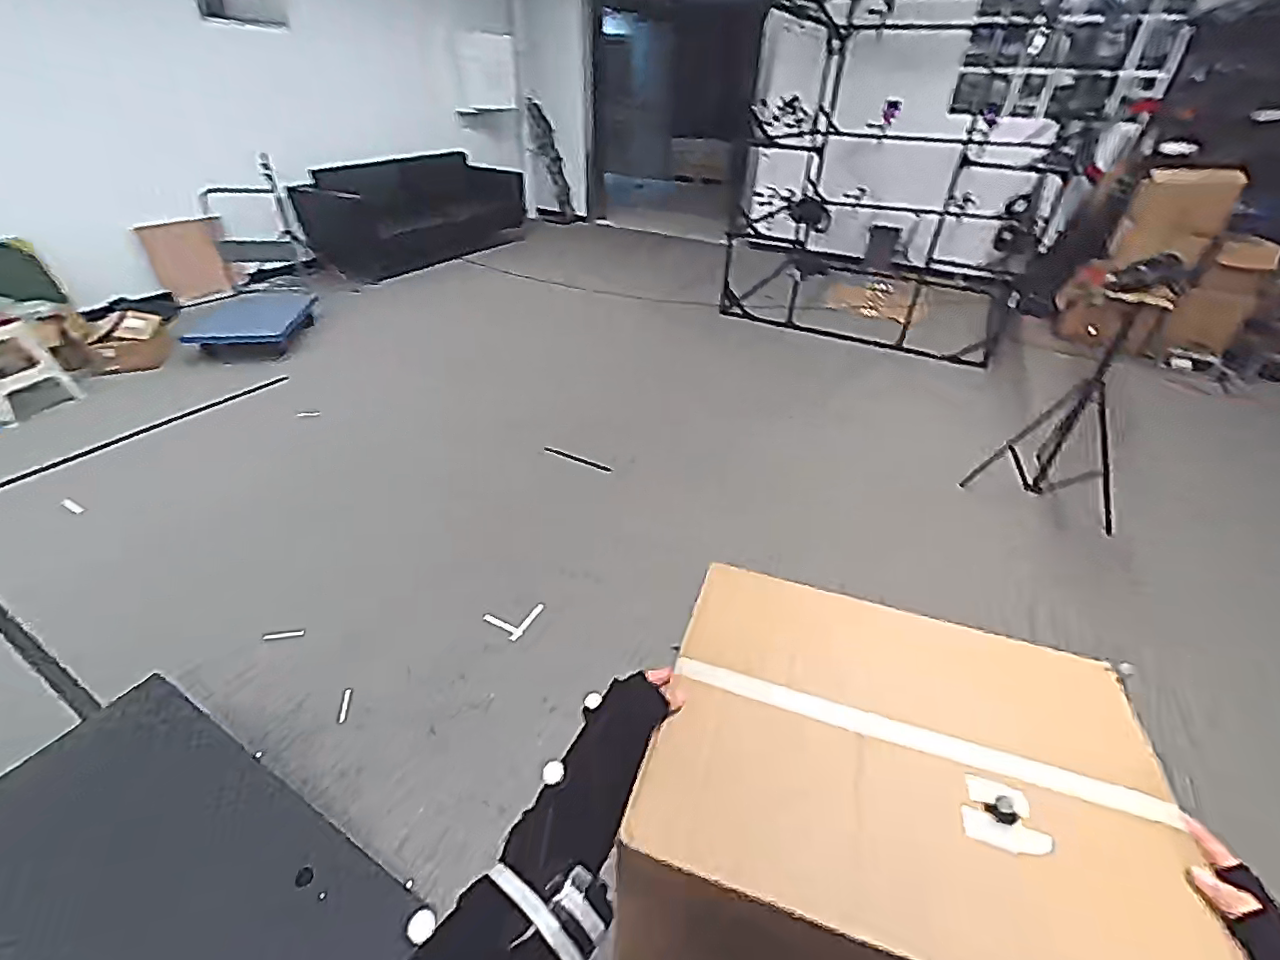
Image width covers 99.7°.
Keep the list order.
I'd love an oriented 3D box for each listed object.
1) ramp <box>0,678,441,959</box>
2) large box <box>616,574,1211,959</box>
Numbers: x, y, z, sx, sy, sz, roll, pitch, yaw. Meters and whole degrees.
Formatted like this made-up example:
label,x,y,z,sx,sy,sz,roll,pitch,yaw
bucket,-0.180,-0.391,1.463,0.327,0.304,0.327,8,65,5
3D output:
label,x,y,z,sx,sy,sz,roll,pitch,yaw
ramp,-0.983,0.886,1.192,0.991,0.206,0.509,18,38,21
large box,0.211,0.351,0.563,0.408,0.320,0.320,12,36,14
